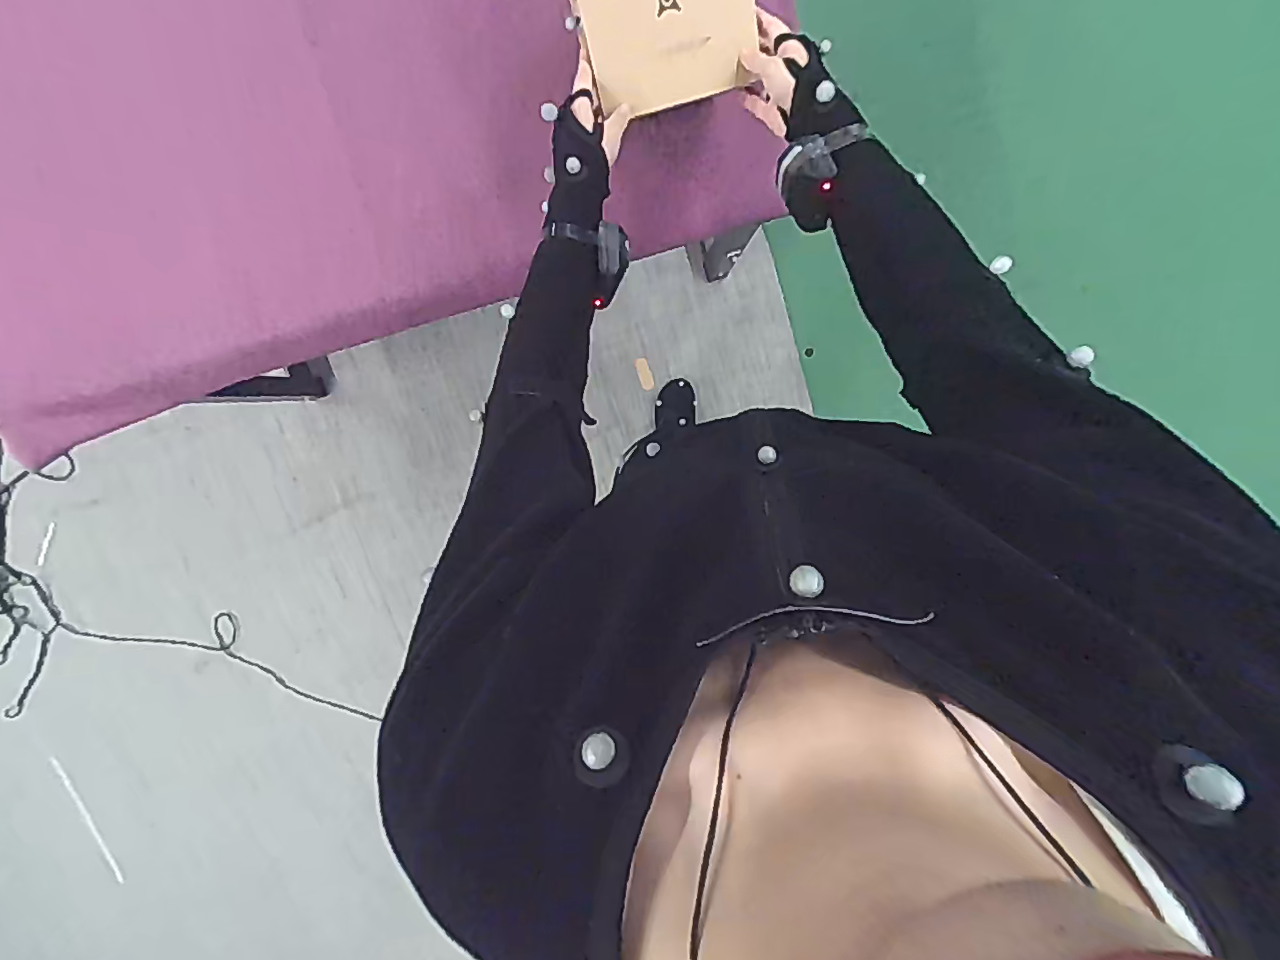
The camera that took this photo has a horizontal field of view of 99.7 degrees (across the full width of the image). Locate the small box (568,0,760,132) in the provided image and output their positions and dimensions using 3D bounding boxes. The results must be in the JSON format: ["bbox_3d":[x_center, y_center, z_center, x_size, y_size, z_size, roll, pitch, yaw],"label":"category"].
[{"bbox_3d":[0.015,-0.490,0.570,0.168,0.176,0.179,-14,121,3],"label":"small box"}]
